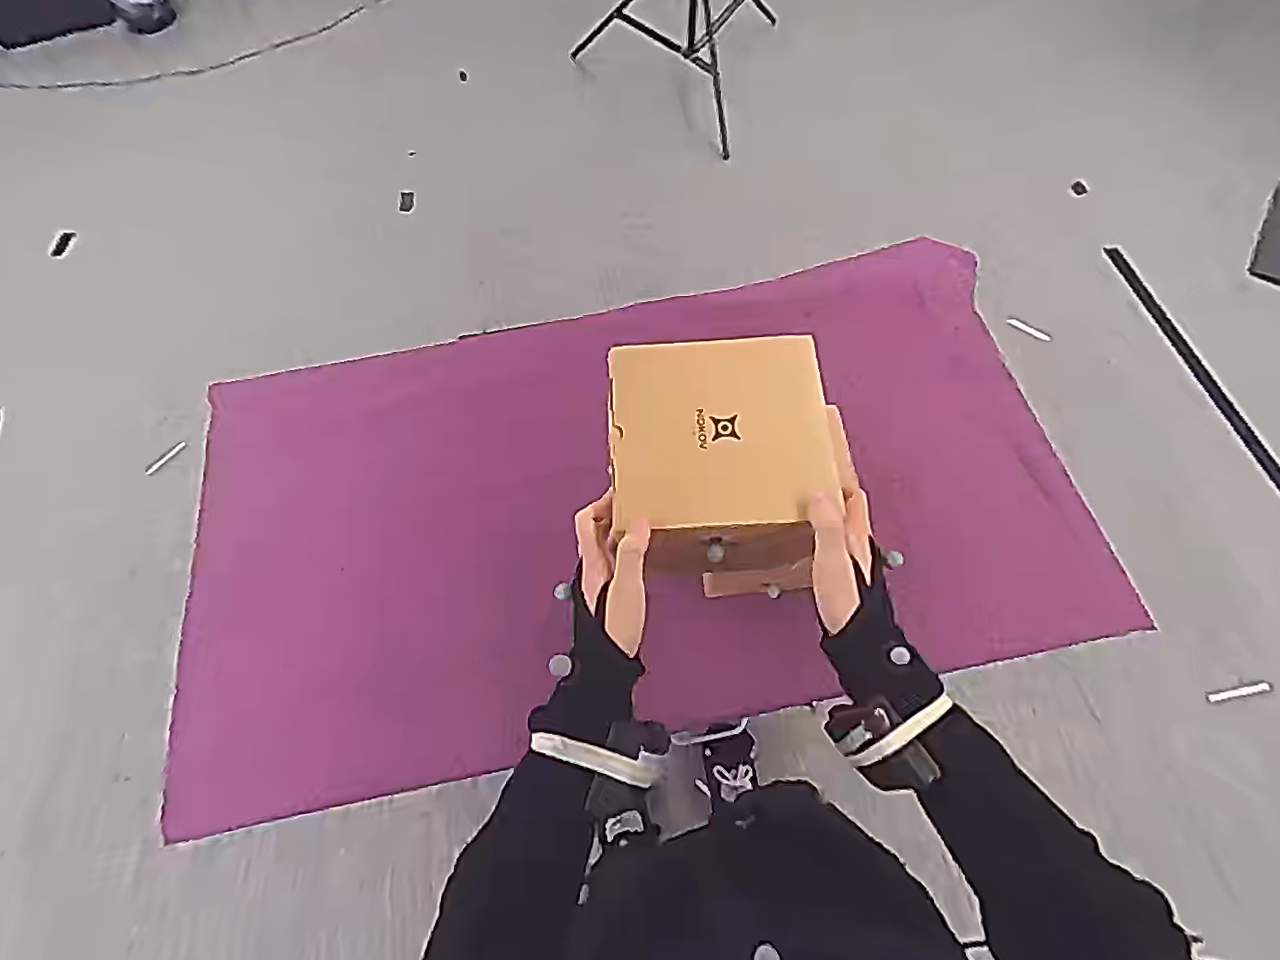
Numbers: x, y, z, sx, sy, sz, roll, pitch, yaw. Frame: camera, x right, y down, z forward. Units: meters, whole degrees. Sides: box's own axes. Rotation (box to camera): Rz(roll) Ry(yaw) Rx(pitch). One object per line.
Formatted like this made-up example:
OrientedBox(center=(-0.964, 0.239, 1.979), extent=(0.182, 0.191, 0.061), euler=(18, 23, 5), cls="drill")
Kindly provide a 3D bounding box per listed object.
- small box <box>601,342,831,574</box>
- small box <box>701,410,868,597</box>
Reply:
OrientedBox(center=(0.058, -0.010, 0.508), extent=(0.179, 0.176, 0.168), euler=(-3, 69, 2), cls="small box")
OrientedBox(center=(0.153, 0.036, 0.665), extent=(0.168, 0.176, 0.179), euler=(-6, 67, 1), cls="small box")
